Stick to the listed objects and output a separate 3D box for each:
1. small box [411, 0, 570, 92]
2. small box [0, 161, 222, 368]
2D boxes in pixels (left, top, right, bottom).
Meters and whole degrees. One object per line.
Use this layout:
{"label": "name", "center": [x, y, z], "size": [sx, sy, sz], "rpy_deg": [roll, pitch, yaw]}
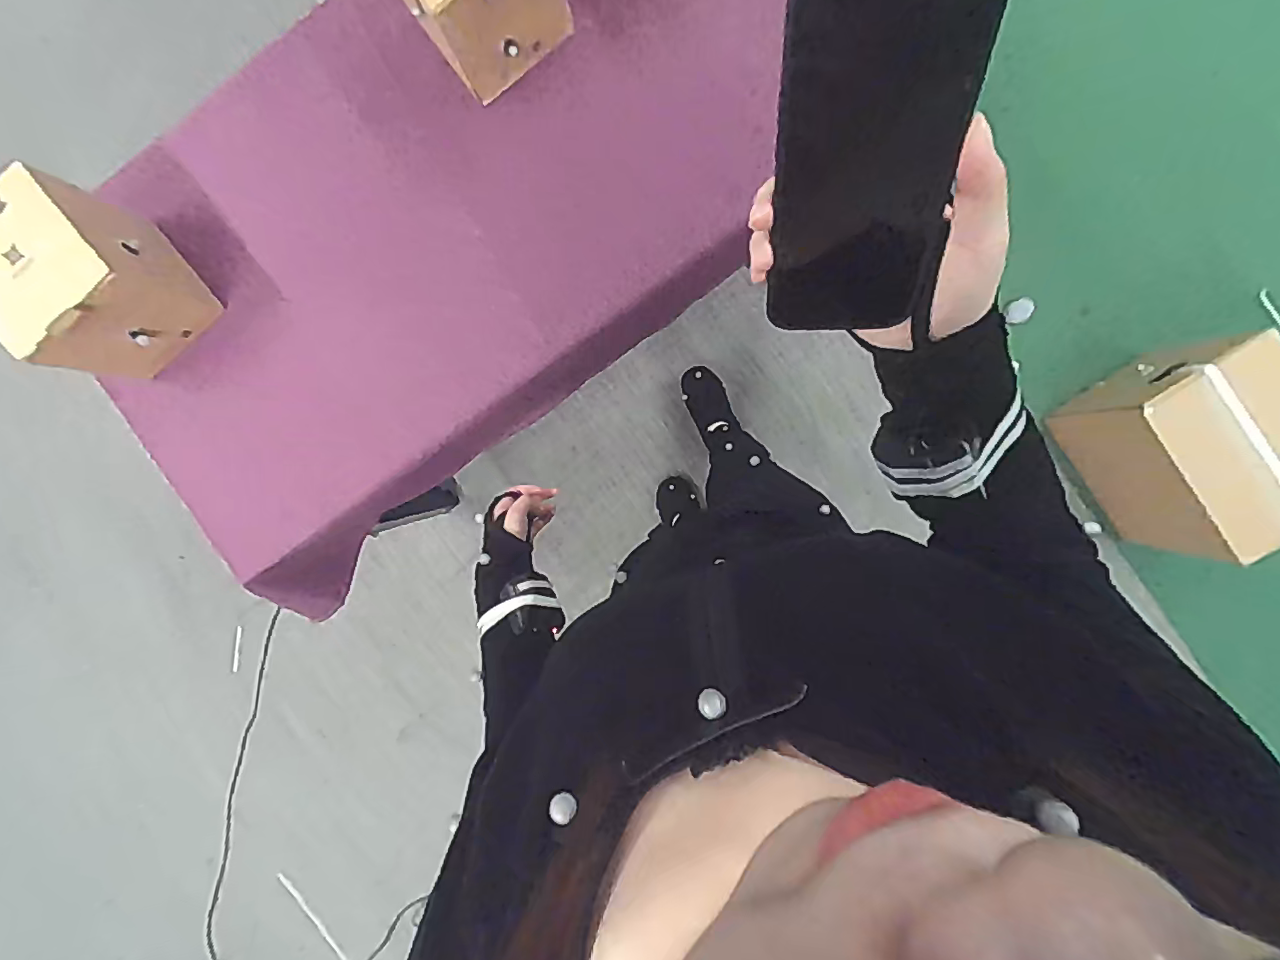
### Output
{"label": "small box", "center": [-0.210, -0.646, 0.671], "size": [0.168, 0.176, 0.179], "rpy_deg": [-37, 91, 5]}
{"label": "small box", "center": [-0.727, -0.267, 0.723], "size": [0.168, 0.176, 0.179], "rpy_deg": [-40, 91, 4]}
